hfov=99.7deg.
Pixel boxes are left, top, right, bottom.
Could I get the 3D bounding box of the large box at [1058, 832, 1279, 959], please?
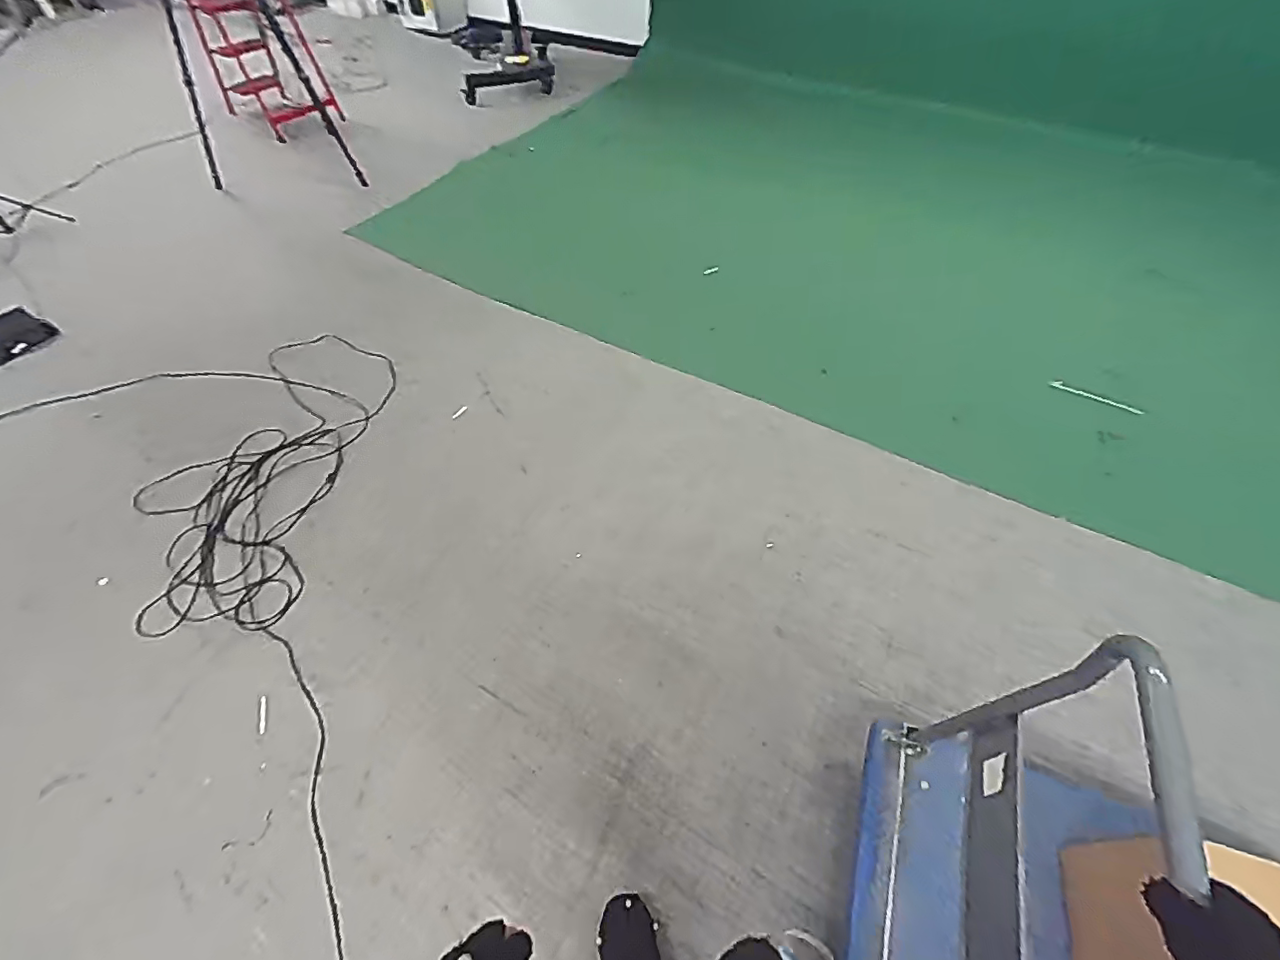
[{"bbox_3d":[0.889,0.806,0.786,0.320,0.320,0.408,14,54,11],"label":"large box"}]
